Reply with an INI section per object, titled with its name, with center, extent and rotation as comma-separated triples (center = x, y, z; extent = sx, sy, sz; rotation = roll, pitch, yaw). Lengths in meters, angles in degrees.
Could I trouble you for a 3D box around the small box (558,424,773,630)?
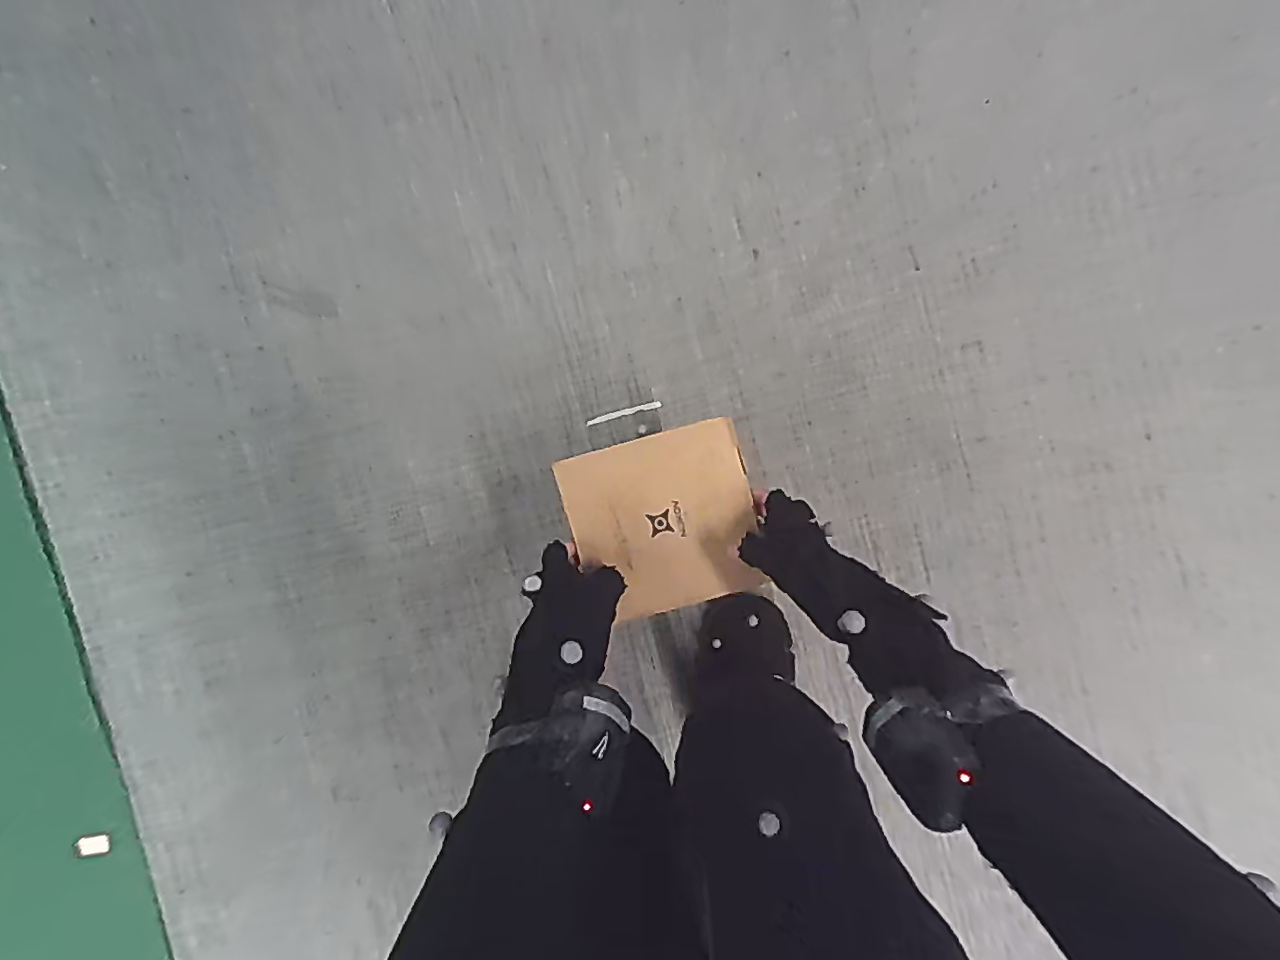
[small box]
center = 0.026, 0.043, 0.599
extent = 0.179, 0.176, 0.168
rotation = -16, 90, 2
